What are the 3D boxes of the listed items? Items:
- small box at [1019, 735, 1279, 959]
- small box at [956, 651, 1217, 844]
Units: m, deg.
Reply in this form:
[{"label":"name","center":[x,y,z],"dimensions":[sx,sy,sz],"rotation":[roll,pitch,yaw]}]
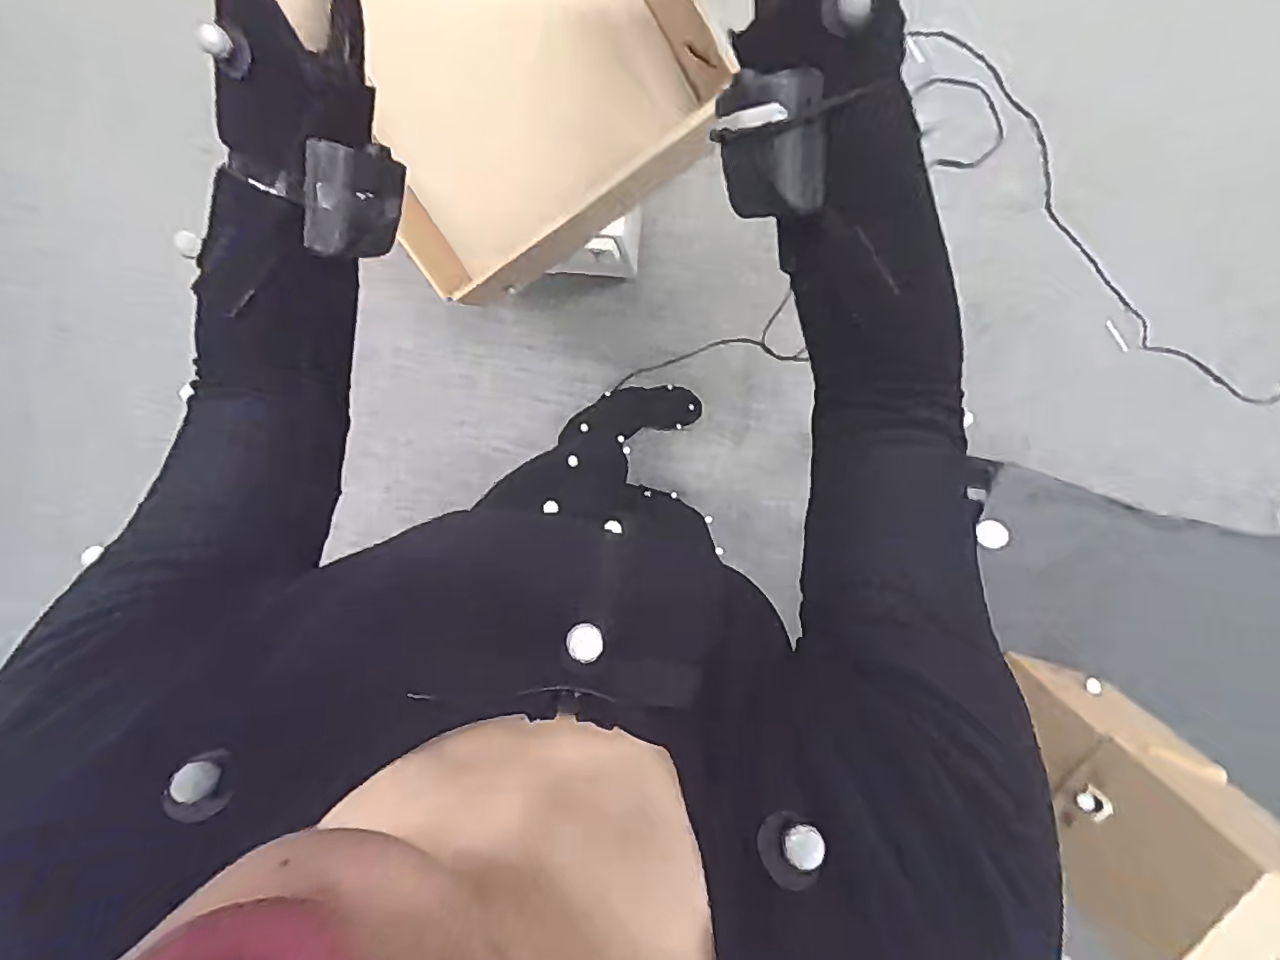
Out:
[{"label":"small box","center":[0.552,0.400,0.552],"dimensions":[0.179,0.176,0.168],"rotation":[24,103,-5]},{"label":"small box","center":[0.557,0.361,0.710],"dimensions":[0.168,0.176,0.179],"rotation":[19,104,-5]}]
